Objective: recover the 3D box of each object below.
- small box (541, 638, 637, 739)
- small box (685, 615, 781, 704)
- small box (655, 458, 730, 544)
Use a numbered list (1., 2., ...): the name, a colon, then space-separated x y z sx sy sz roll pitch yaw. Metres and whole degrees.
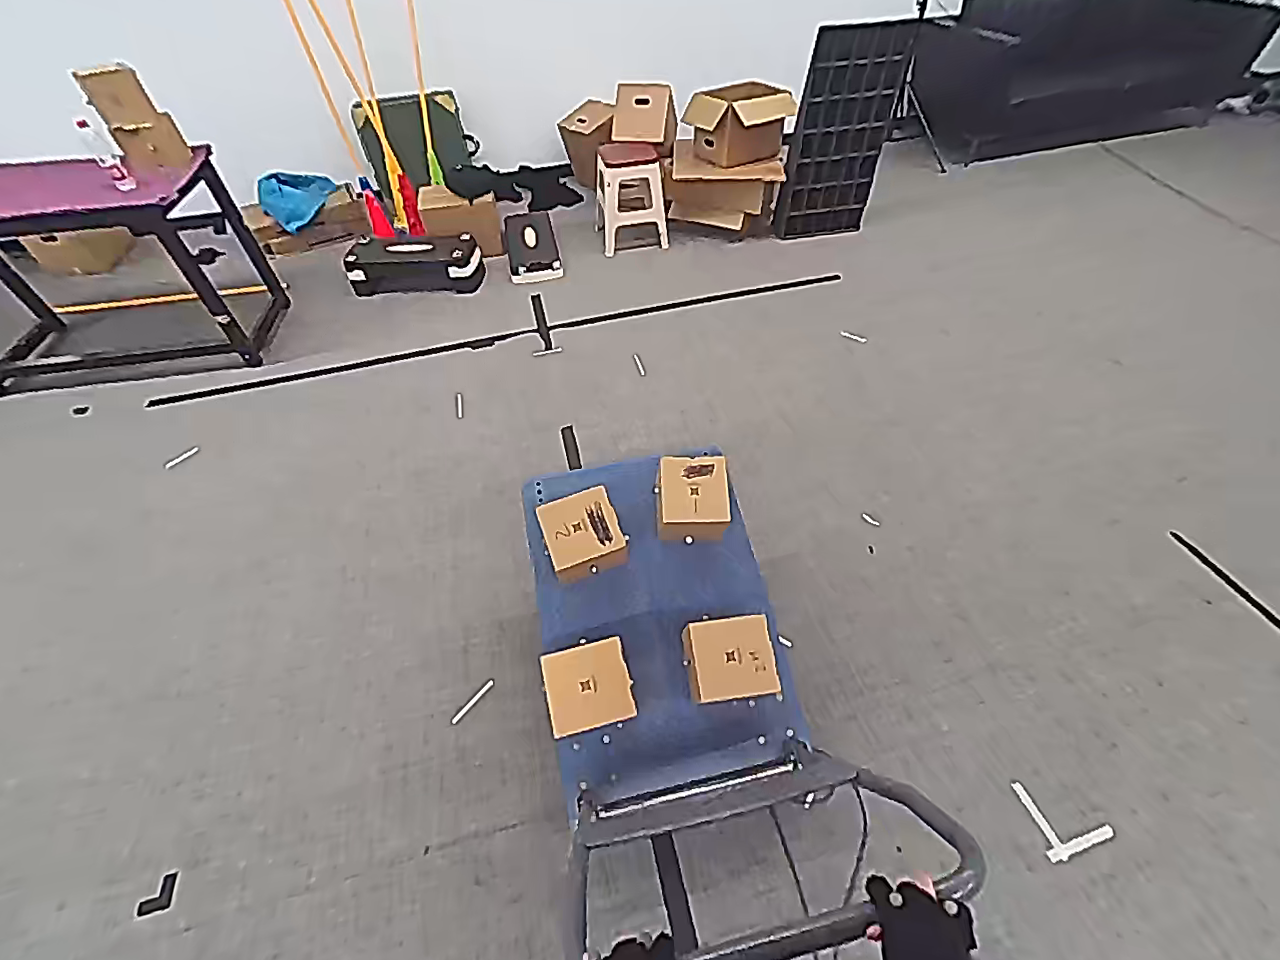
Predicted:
1. small box: -0.111 0.465 1.200 0.179 0.176 0.168 -13 68 -9
2. small box: 0.201 0.414 1.234 0.179 0.176 0.168 -6 67 -5
3. small box: 0.129 0.056 1.388 0.168 0.176 0.179 -1 68 -3
